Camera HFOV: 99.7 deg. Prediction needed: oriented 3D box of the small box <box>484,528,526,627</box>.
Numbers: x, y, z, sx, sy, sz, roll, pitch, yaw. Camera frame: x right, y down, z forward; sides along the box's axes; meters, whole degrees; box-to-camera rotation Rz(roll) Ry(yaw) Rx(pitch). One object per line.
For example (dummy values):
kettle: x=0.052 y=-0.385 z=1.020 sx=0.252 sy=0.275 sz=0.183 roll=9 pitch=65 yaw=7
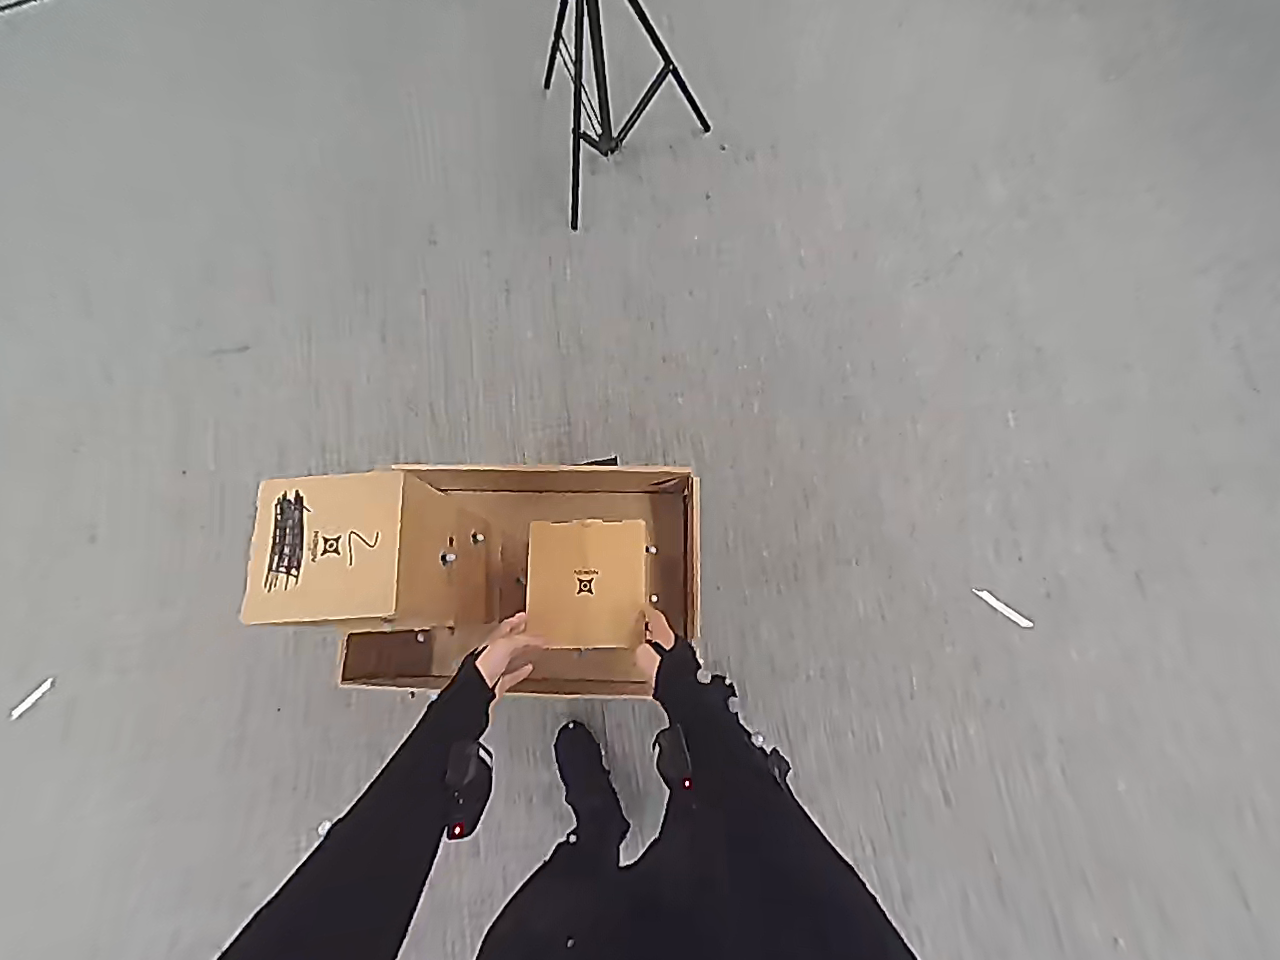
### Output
small box: x=-0.318 y=0.186 z=0.996 sx=0.179 sy=0.176 sz=0.168 roll=-2 pitch=75 yaw=1

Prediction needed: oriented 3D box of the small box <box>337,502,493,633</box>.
small box: x=-0.334 y=0.142 z=0.837 sx=0.168 sy=0.176 sz=0.179 roll=-5 pitch=74 yaw=3

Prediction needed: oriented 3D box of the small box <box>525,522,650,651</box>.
small box: x=-0.070 y=0.164 z=0.822 sx=0.168 sy=0.176 sz=0.179 roll=-1 pitch=74 yaw=2
